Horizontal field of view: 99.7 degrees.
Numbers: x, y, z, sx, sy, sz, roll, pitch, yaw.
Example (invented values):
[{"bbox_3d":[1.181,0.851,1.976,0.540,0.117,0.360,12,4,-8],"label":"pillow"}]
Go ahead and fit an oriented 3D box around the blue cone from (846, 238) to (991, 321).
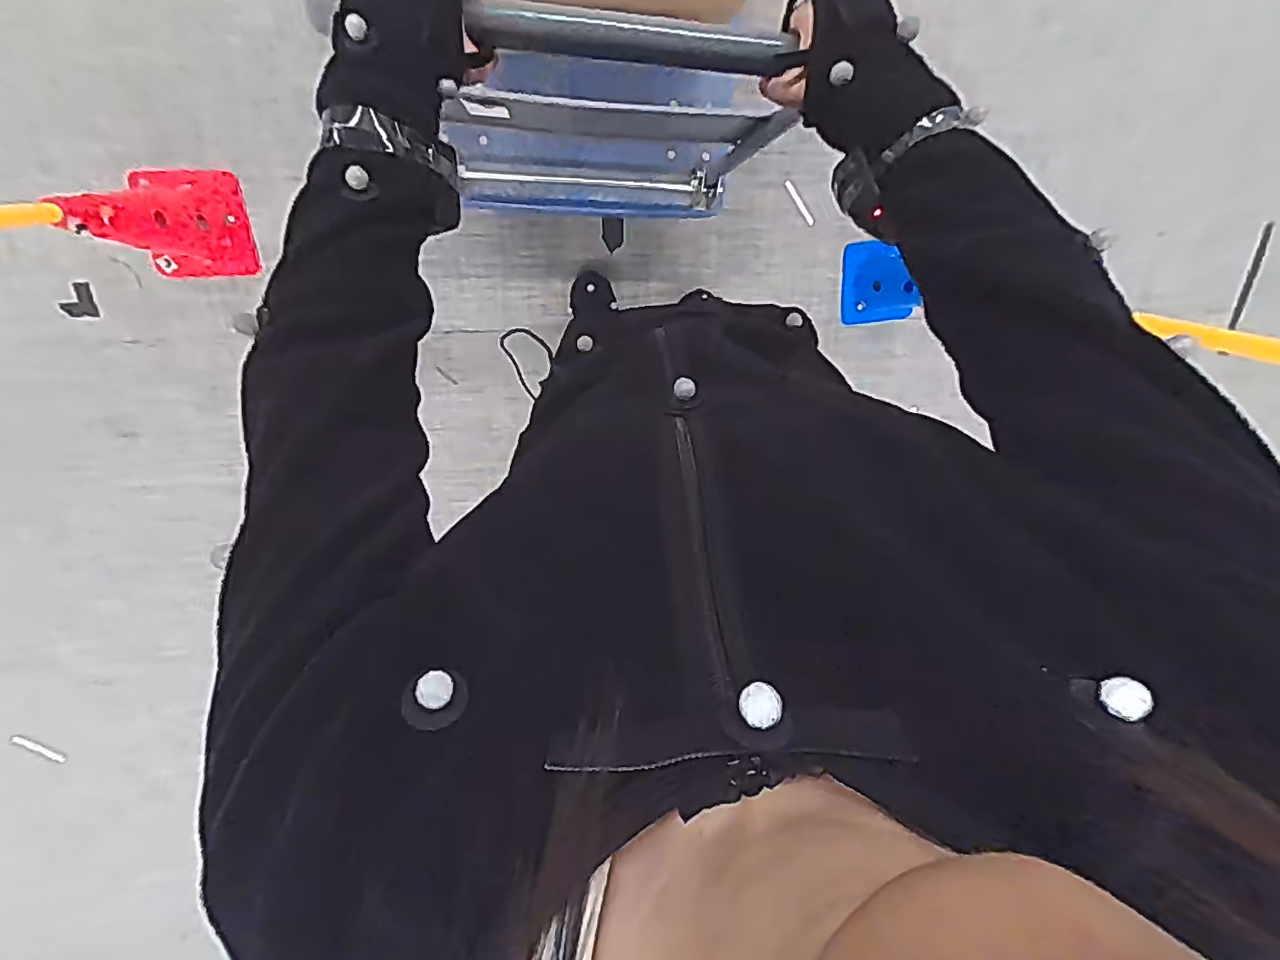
[{"bbox_3d":[0.641,-0.451,1.228,0.193,0.380,0.192,-7,112,-7],"label":"blue cone"}]
